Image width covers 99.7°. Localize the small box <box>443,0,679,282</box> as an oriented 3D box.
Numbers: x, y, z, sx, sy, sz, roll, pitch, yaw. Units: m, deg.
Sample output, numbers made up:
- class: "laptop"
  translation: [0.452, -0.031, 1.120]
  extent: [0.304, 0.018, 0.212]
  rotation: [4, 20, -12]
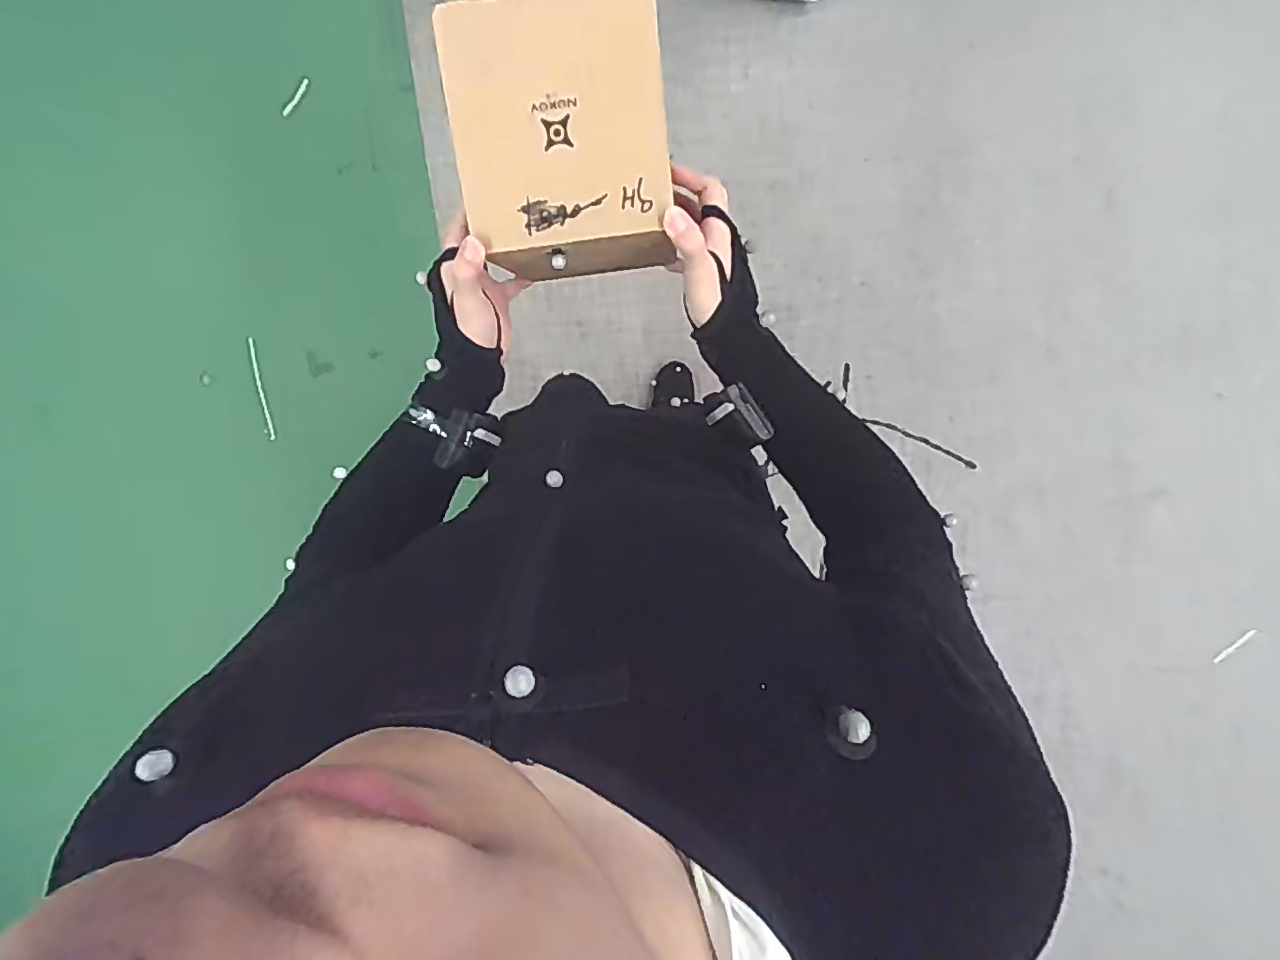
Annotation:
- class: "small box"
  translation: [-0.054, -0.290, 0.487]
  extent: [0.168, 0.176, 0.179]
  rotation: [-5, 102, 5]
